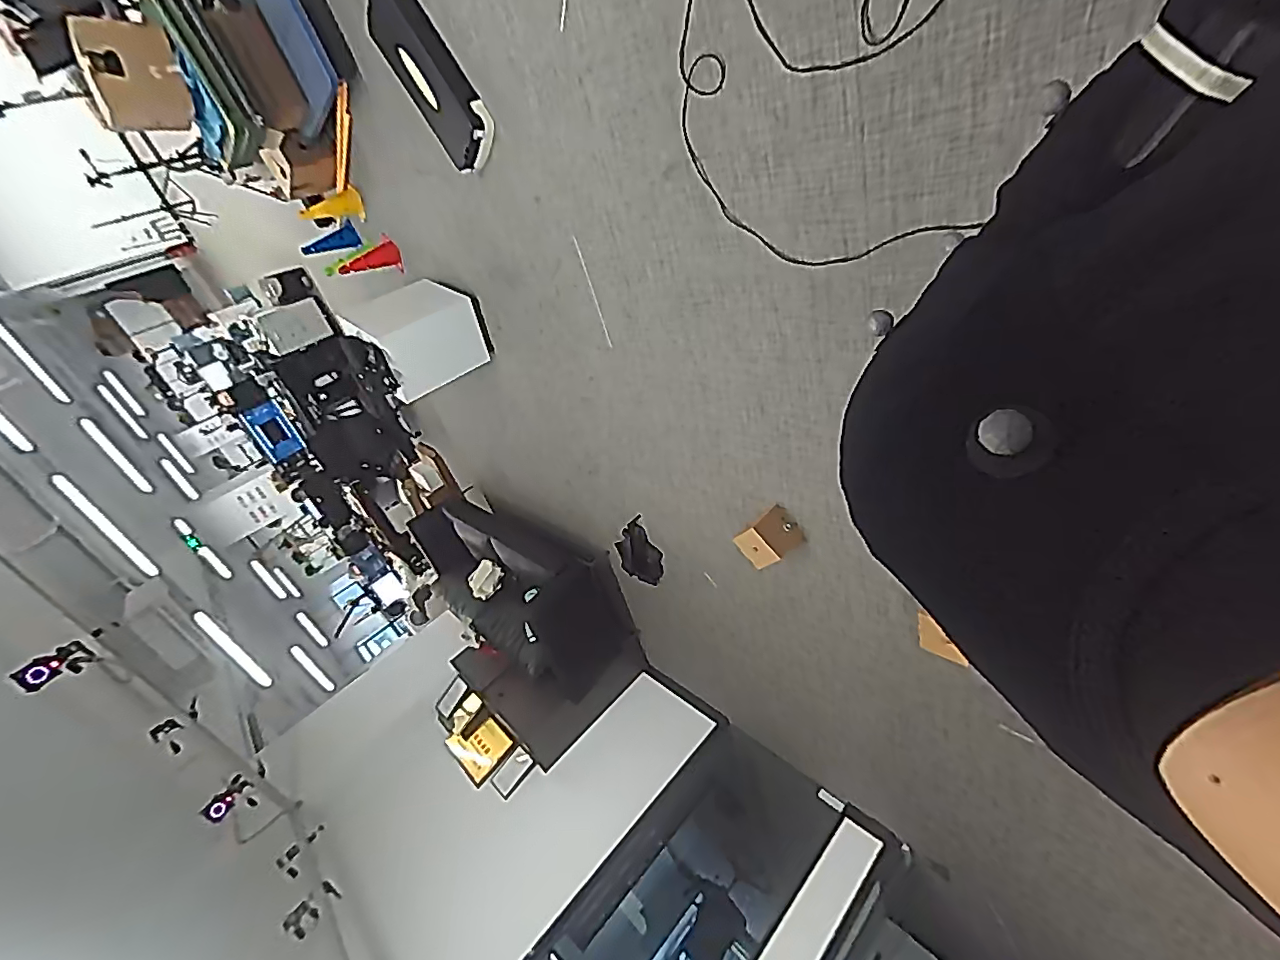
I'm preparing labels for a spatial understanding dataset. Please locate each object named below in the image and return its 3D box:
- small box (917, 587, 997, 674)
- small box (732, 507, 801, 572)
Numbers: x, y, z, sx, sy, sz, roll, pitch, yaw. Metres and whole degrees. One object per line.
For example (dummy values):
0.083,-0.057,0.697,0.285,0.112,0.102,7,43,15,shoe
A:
1.004,0.468,1.708,0.179,0.176,0.168,18,136,48,small box
0.511,0.239,2.176,0.168,0.176,0.179,48,150,6,small box
